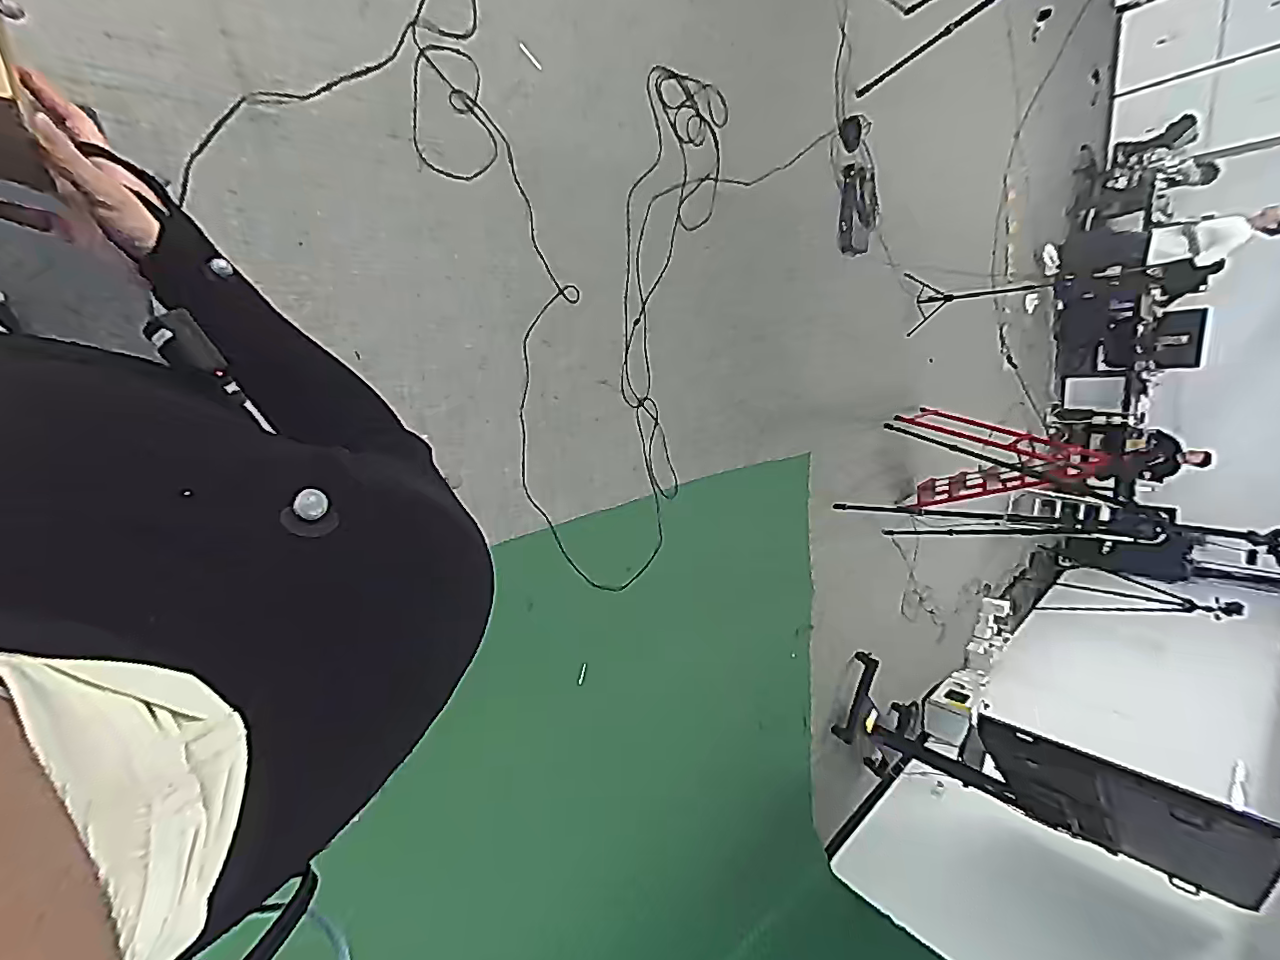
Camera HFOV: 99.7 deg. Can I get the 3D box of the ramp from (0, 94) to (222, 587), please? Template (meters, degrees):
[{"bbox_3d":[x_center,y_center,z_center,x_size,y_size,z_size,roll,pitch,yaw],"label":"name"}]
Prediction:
[{"bbox_3d":[-1.301,-0.295,1.111,0.509,0.206,0.991,-19,108,-37],"label":"ramp"}]
